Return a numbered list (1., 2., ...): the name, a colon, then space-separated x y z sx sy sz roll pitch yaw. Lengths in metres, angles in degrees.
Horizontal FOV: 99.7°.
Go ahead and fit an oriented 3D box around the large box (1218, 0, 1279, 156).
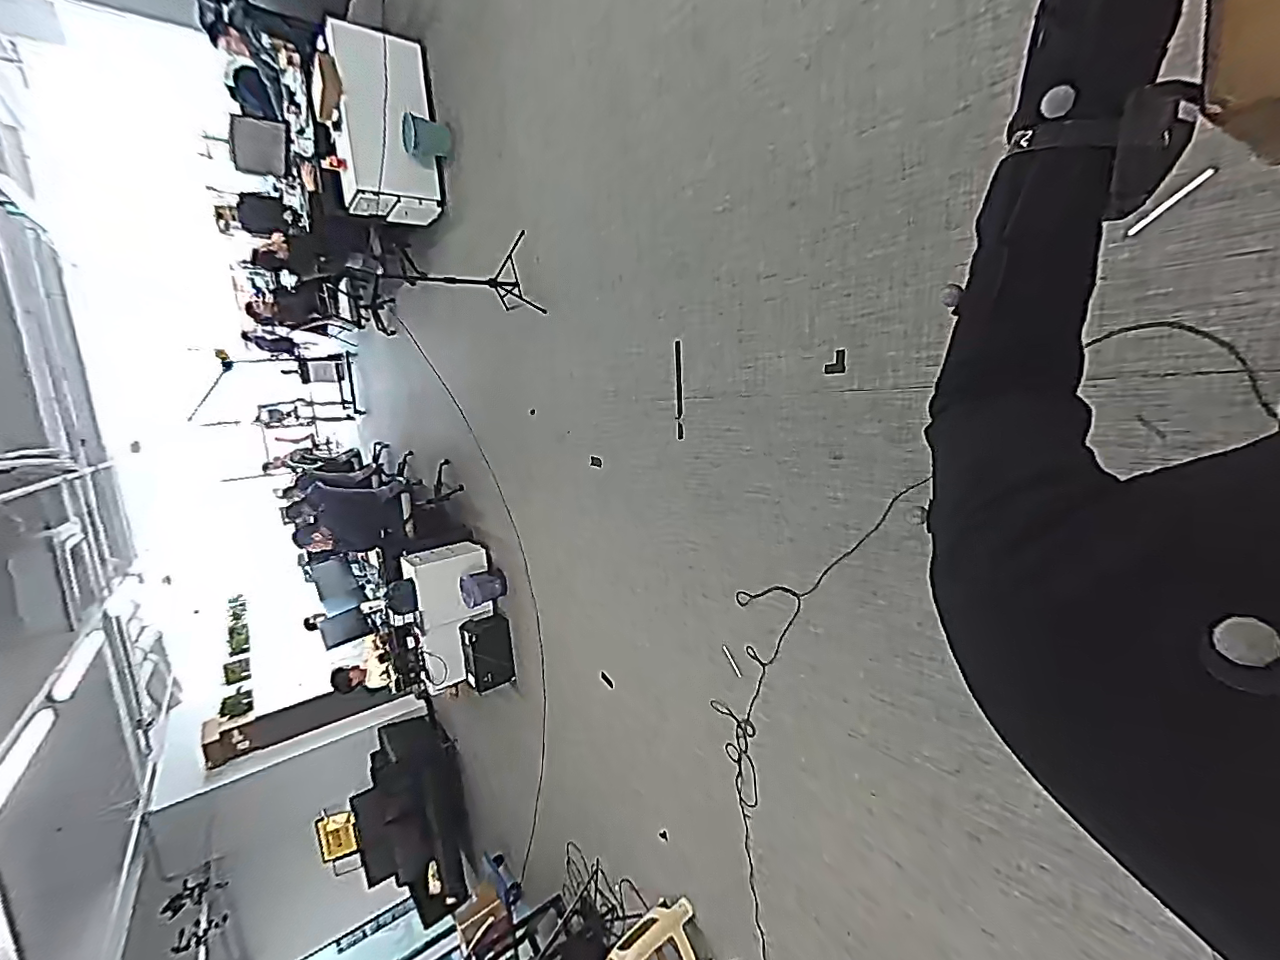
1. large box: 0.544 -0.381 0.211 0.408 0.320 0.320 8 112 52
